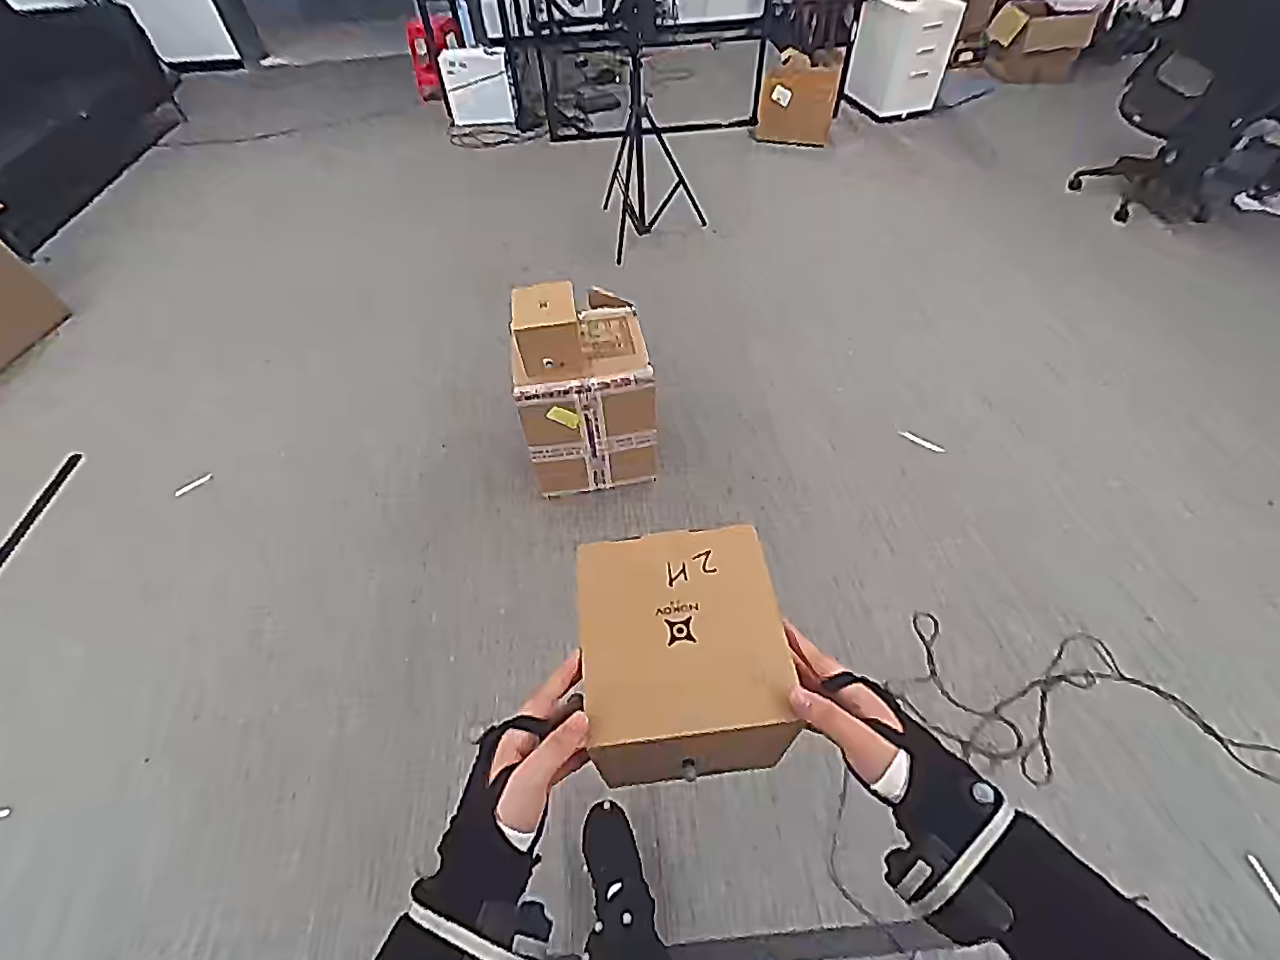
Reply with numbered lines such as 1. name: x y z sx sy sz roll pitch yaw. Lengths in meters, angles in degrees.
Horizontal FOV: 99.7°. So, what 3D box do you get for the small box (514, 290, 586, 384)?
1. small box: -0.247 -0.392 1.490 0.168 0.176 0.179 -10 56 -3
